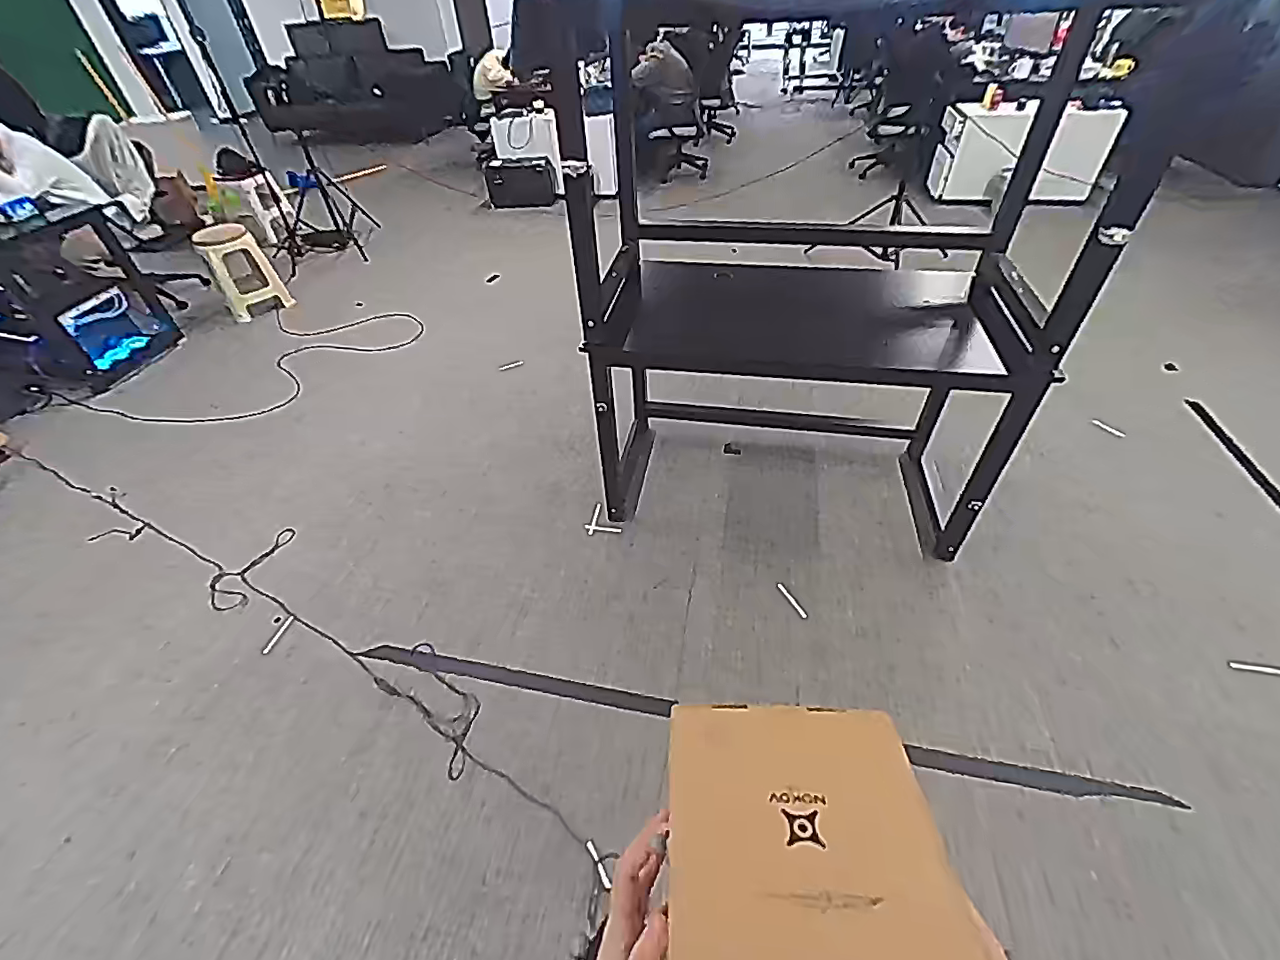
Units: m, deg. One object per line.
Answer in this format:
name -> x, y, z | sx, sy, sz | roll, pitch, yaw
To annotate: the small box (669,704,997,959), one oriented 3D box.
small box -> 0.104, 0.284, 0.372 | 0.168, 0.176, 0.179 | 0, 28, 3
